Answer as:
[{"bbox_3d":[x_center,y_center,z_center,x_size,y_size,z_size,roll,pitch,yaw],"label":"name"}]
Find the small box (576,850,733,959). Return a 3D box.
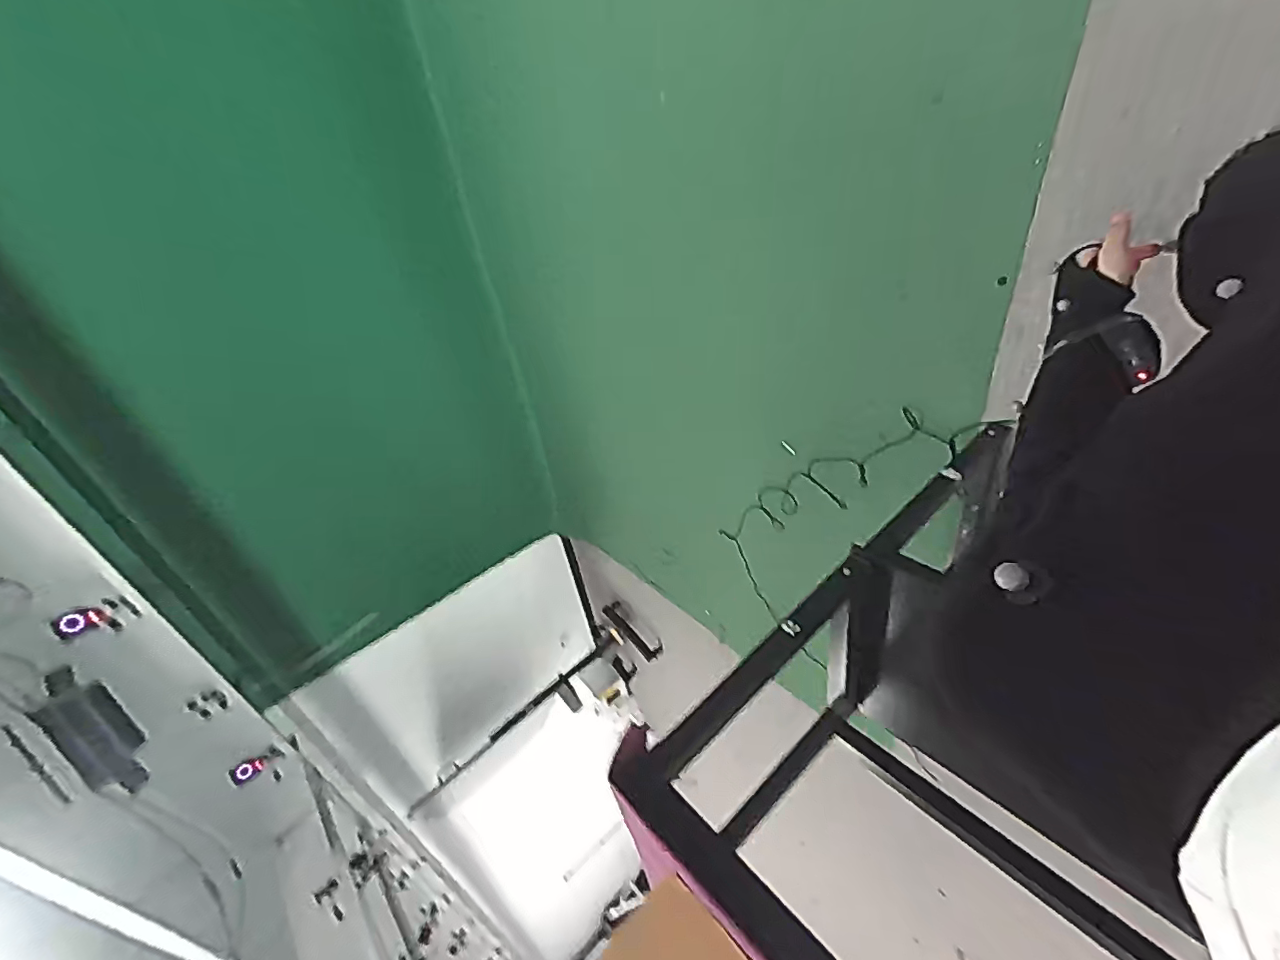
[{"bbox_3d":[0.031,0.734,0.843,0.179,0.176,0.168,31,143,38],"label":"small box"}]
